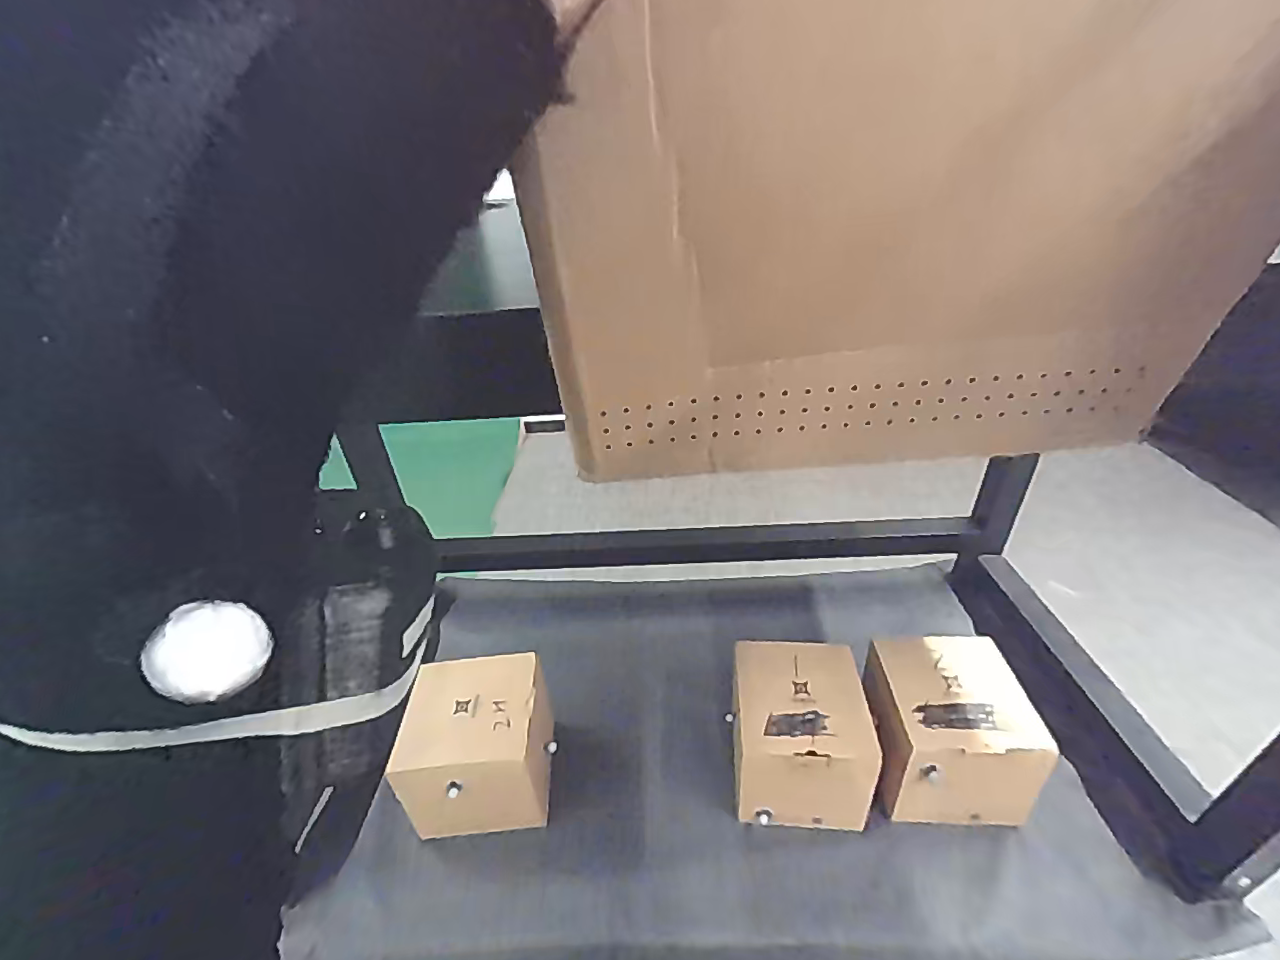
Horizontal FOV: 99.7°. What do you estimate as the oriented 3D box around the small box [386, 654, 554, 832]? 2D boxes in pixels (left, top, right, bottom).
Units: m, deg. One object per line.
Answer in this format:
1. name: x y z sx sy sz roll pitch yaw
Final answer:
1. small box: -0.228 0.378 0.777 0.179 0.176 0.168 -5 33 -1
